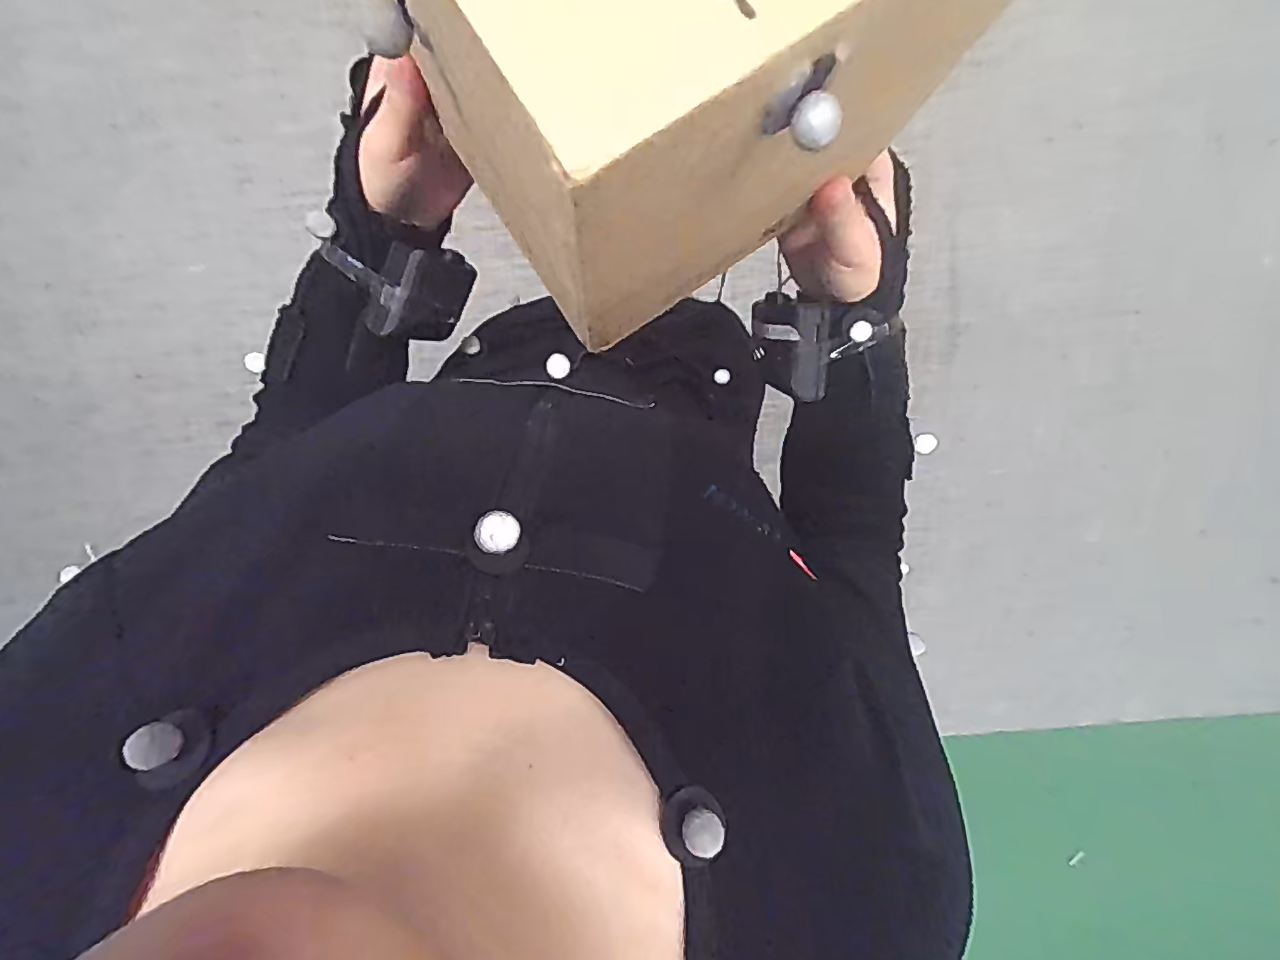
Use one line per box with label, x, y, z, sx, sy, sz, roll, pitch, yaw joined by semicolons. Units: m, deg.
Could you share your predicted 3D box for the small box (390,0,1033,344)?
small box;0.009;-0.178;0.199;0.168;0.176;0.179;-35;92;-1
